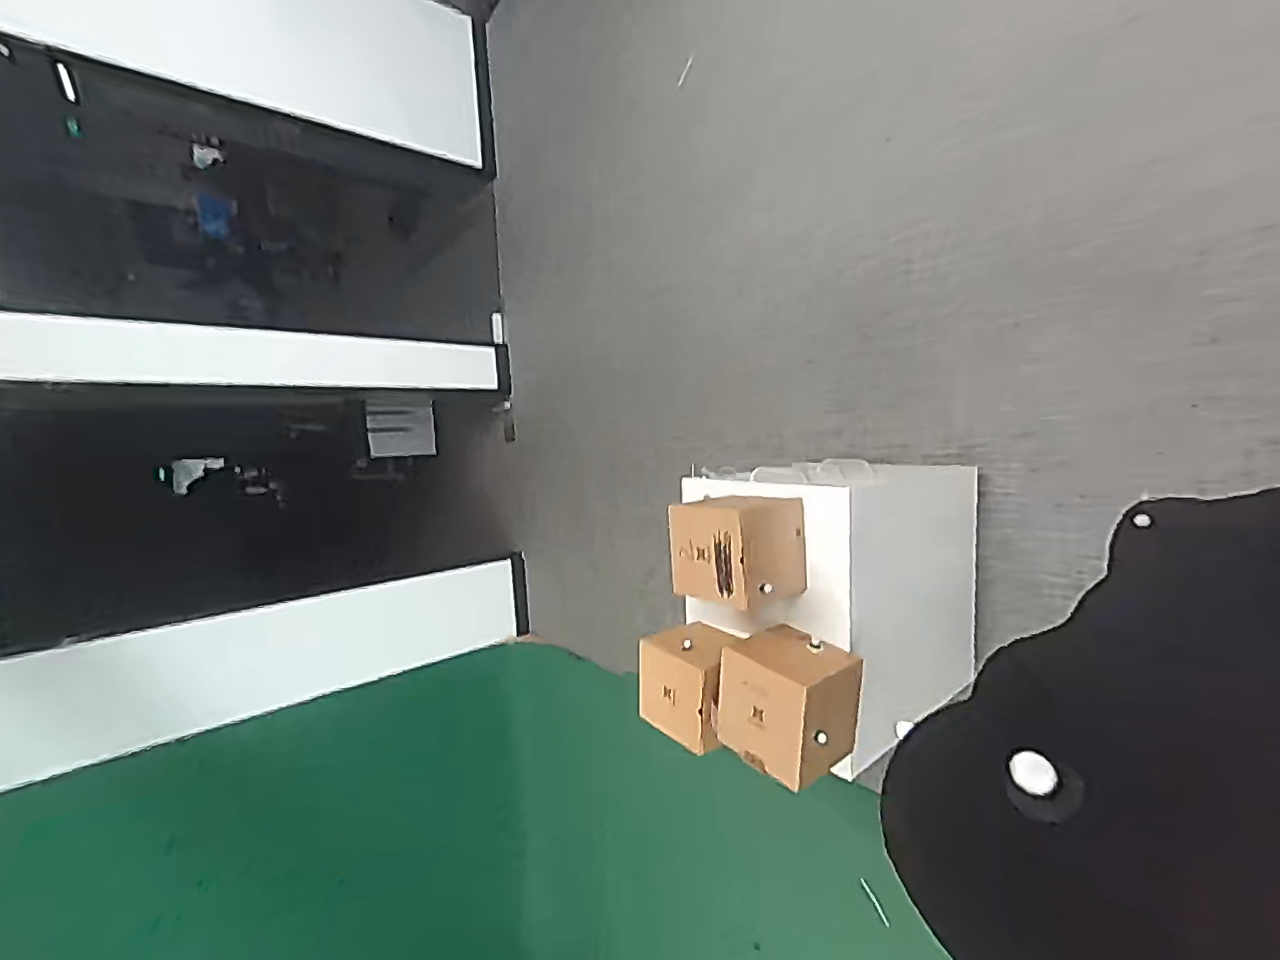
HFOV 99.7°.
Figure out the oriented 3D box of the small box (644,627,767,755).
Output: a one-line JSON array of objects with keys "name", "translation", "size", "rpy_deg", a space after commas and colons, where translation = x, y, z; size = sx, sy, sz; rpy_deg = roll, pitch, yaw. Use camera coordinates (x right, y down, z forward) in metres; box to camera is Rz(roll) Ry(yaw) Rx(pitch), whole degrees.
[{"name": "small box", "translation": [0.127, 0.404, 1.074], "size": [0.179, 0.176, 0.168], "rpy_deg": [8, 99, 49]}]
